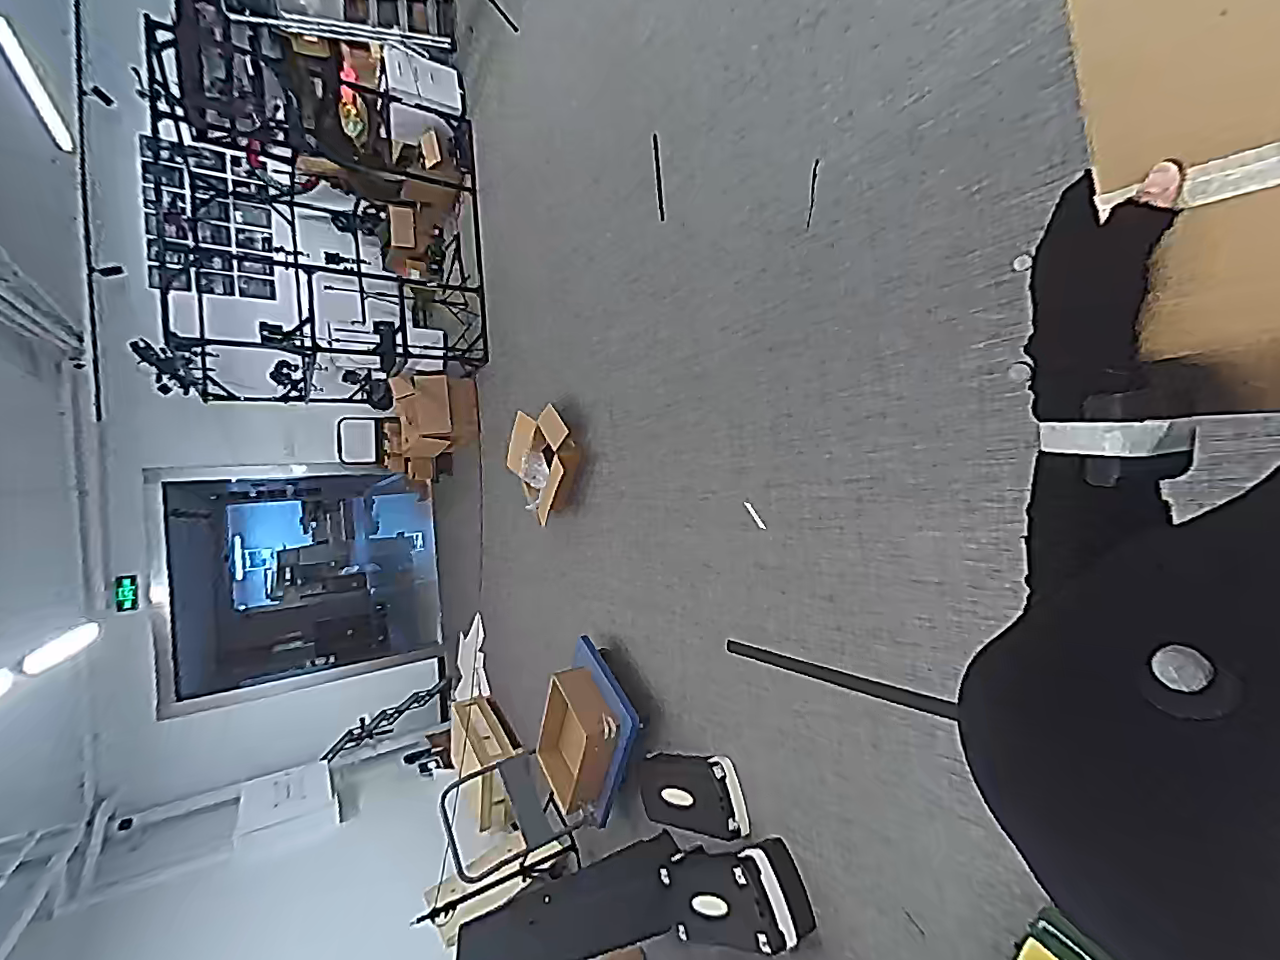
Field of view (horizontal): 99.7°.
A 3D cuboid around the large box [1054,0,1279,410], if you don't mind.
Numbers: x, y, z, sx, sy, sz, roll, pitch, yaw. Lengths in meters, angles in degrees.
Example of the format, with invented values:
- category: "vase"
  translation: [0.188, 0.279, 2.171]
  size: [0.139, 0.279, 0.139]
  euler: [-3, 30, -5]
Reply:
- category: "large box"
  translation: [0.505, -0.258, 0.246]
  size: [0.408, 0.320, 0.320]
  euler: [4, 132, 55]
